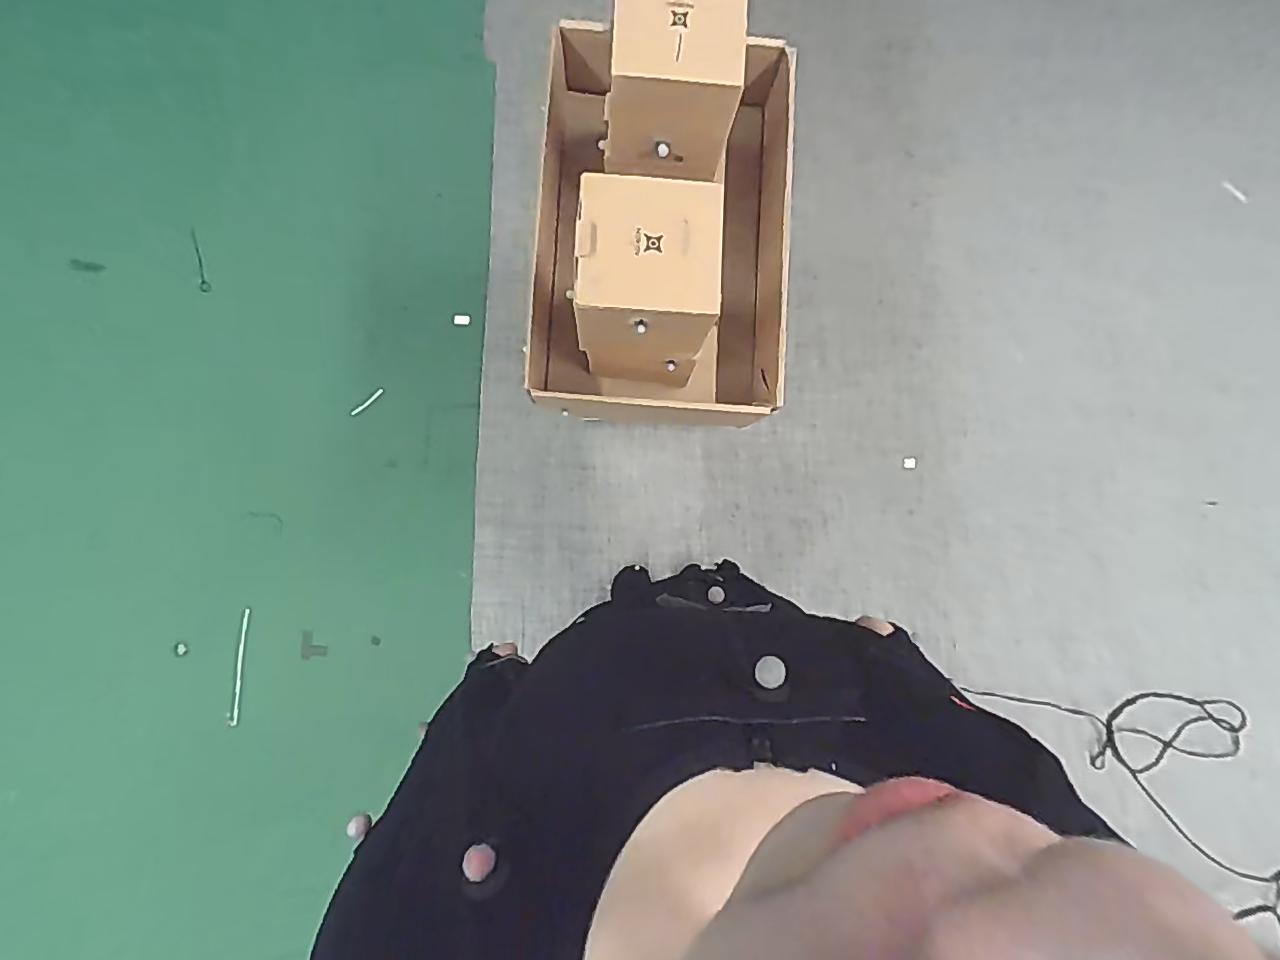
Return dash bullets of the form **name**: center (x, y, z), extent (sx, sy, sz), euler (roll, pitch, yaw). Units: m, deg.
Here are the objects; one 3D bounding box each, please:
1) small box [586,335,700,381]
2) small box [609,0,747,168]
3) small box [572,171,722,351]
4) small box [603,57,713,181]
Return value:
- **small box**: center (0.006, -0.270, 0.887), extent (0.179, 0.176, 0.168), euler (7, 85, -4)
- **small box**: center (0.045, -0.570, 0.742), extent (0.168, 0.176, 0.179), euler (3, 88, -3)
- **small box**: center (0.005, -0.279, 0.725), extent (0.179, 0.176, 0.168), euler (3, 86, -5)
- **small box**: center (0.034, -0.565, 0.906), extent (0.179, 0.176, 0.168), euler (5, 88, -2)
